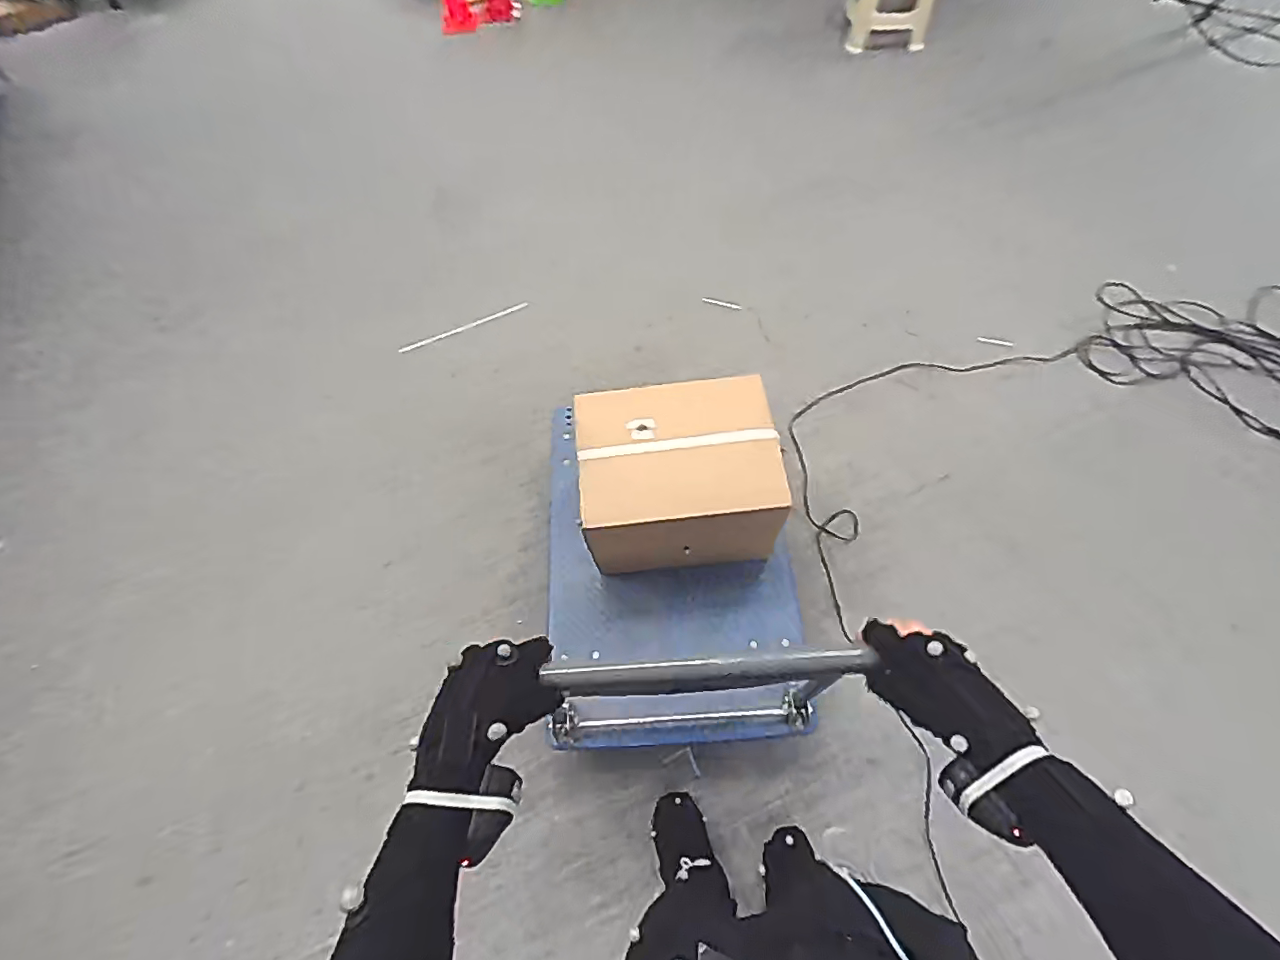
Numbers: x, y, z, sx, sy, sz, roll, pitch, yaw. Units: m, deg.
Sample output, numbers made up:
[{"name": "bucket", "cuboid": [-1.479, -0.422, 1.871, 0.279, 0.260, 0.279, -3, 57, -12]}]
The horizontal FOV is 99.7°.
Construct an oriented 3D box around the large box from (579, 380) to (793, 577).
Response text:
[{"name": "large box", "cuboid": [0.093, 0.010, 1.230, 0.408, 0.320, 0.320, -7, 62, 1]}]
